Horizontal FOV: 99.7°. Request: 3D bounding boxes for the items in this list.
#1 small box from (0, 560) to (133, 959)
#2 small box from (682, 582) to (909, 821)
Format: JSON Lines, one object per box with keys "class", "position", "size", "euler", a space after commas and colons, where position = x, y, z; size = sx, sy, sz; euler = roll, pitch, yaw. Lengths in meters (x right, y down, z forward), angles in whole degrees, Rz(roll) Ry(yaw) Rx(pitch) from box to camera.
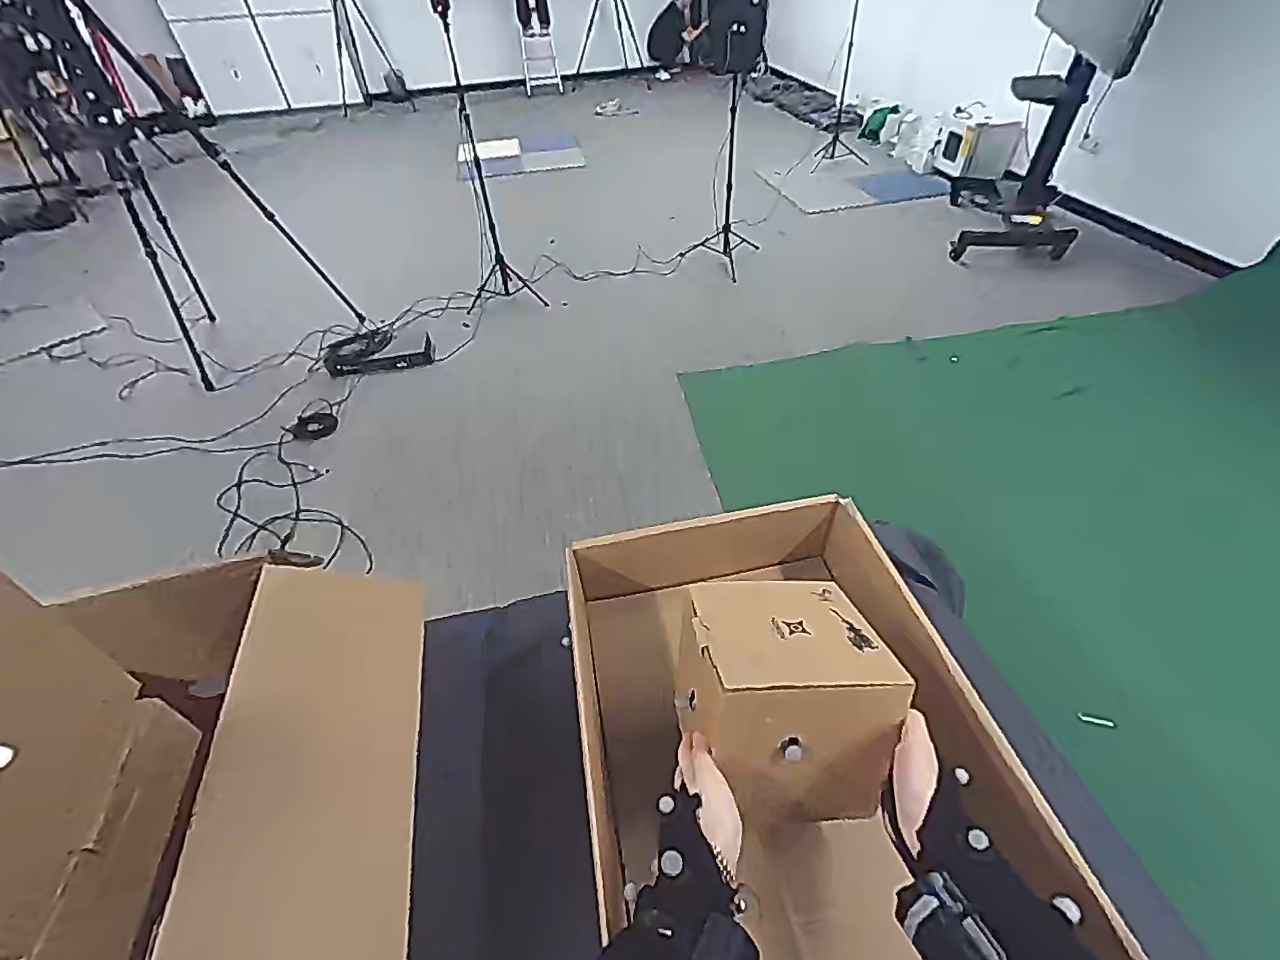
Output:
{"class": "small box", "position": [-0.450, 0.171, 0.305], "size": [0.168, 0.176, 0.179], "euler": [-8, 45, -11]}
{"class": "small box", "position": [0.142, 0.223, 0.563], "size": [0.179, 0.176, 0.168], "euler": [0, 22, -6]}
